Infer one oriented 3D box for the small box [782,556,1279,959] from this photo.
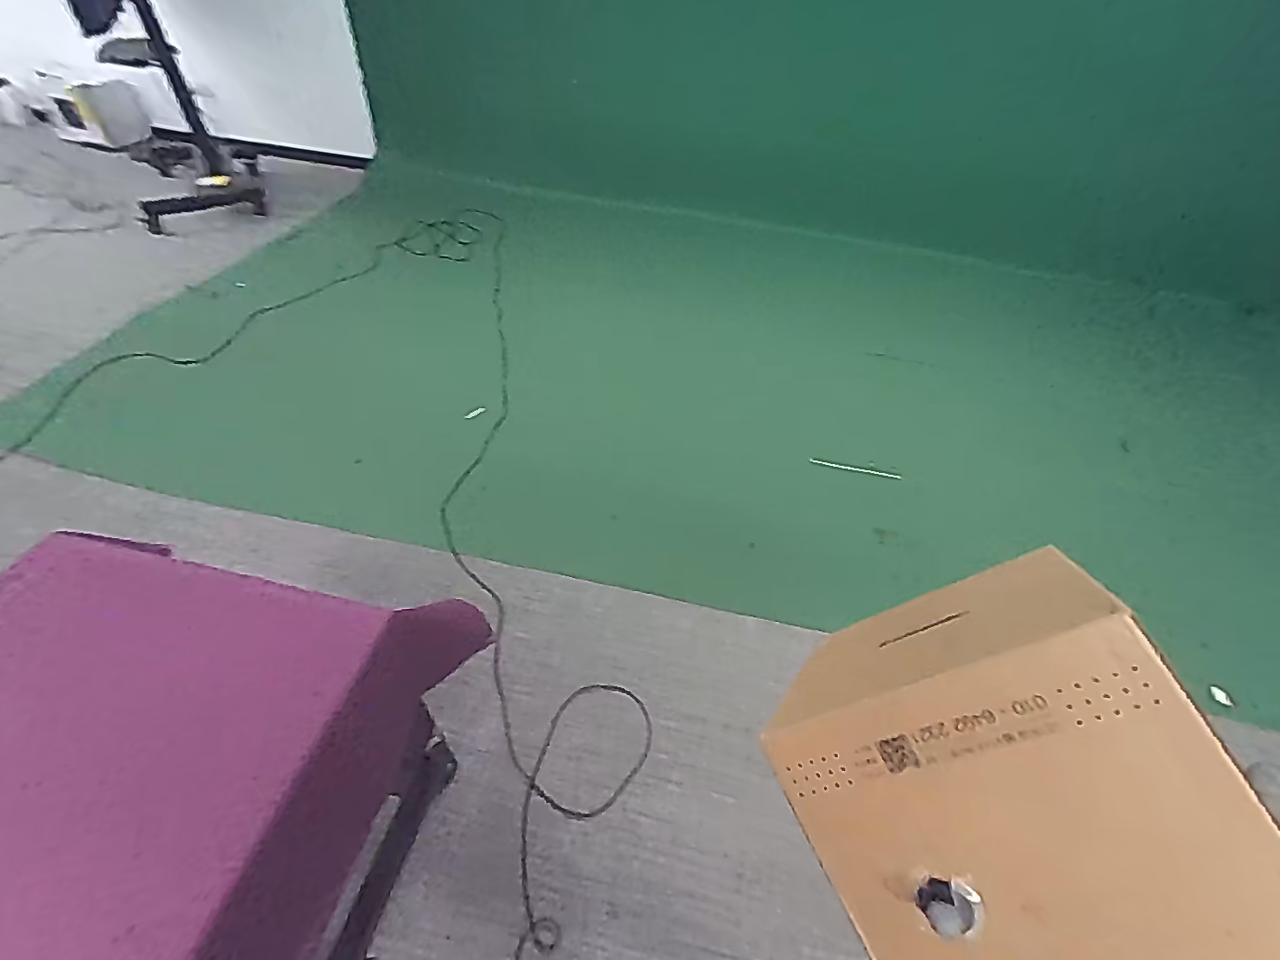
[{"bbox_3d":[0.202,0.158,0.294,0.179,0.168,0.176,-4,64,-60],"label":"small box"}]
